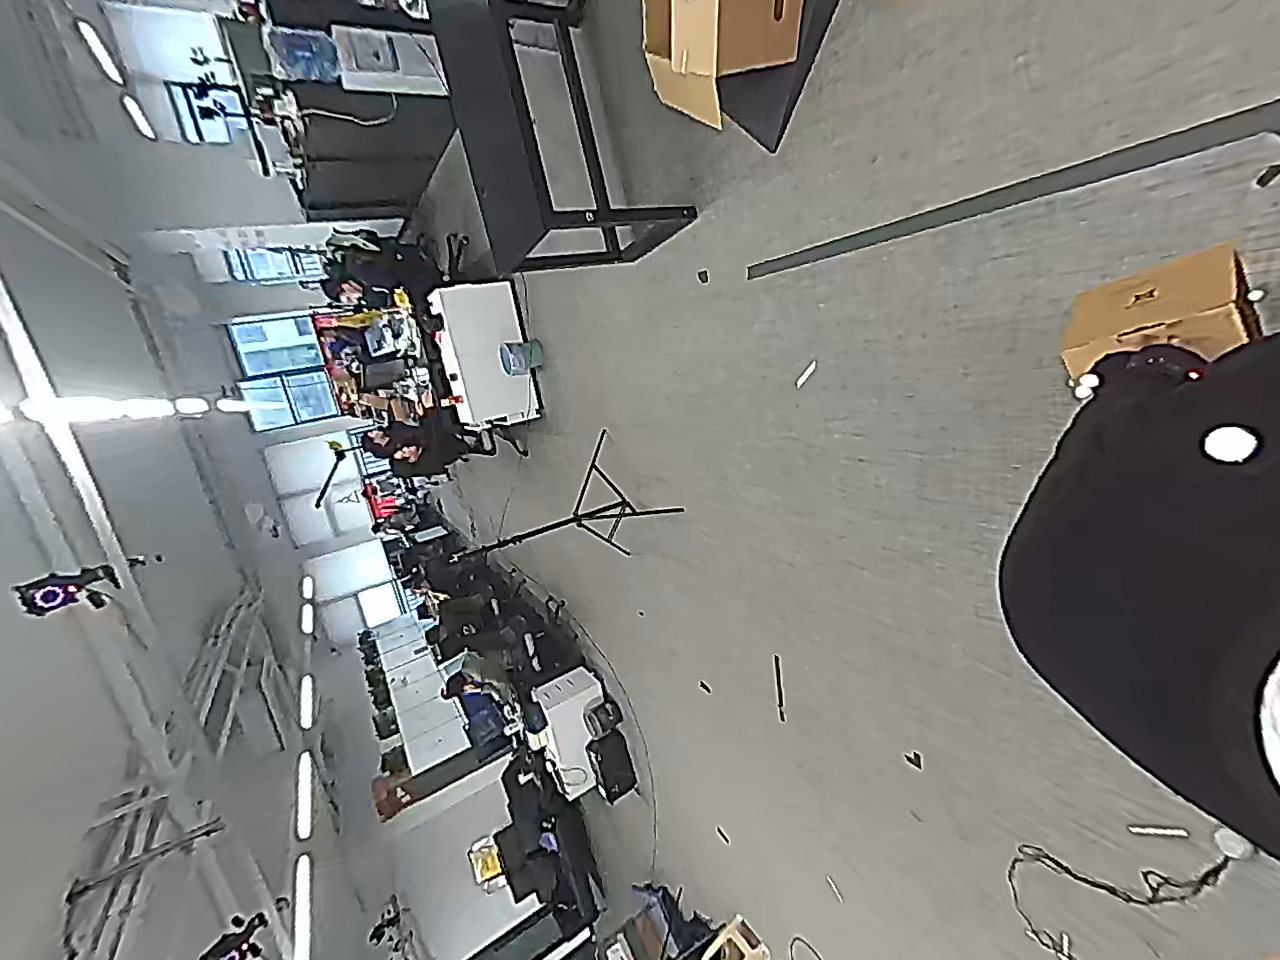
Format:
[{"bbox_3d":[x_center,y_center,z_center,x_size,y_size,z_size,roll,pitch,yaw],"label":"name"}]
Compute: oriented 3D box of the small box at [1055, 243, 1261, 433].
[{"bbox_3d":[0.708,-0.180,0.740,0.168,0.179,0.176,-13,118,53],"label":"small box"}]
